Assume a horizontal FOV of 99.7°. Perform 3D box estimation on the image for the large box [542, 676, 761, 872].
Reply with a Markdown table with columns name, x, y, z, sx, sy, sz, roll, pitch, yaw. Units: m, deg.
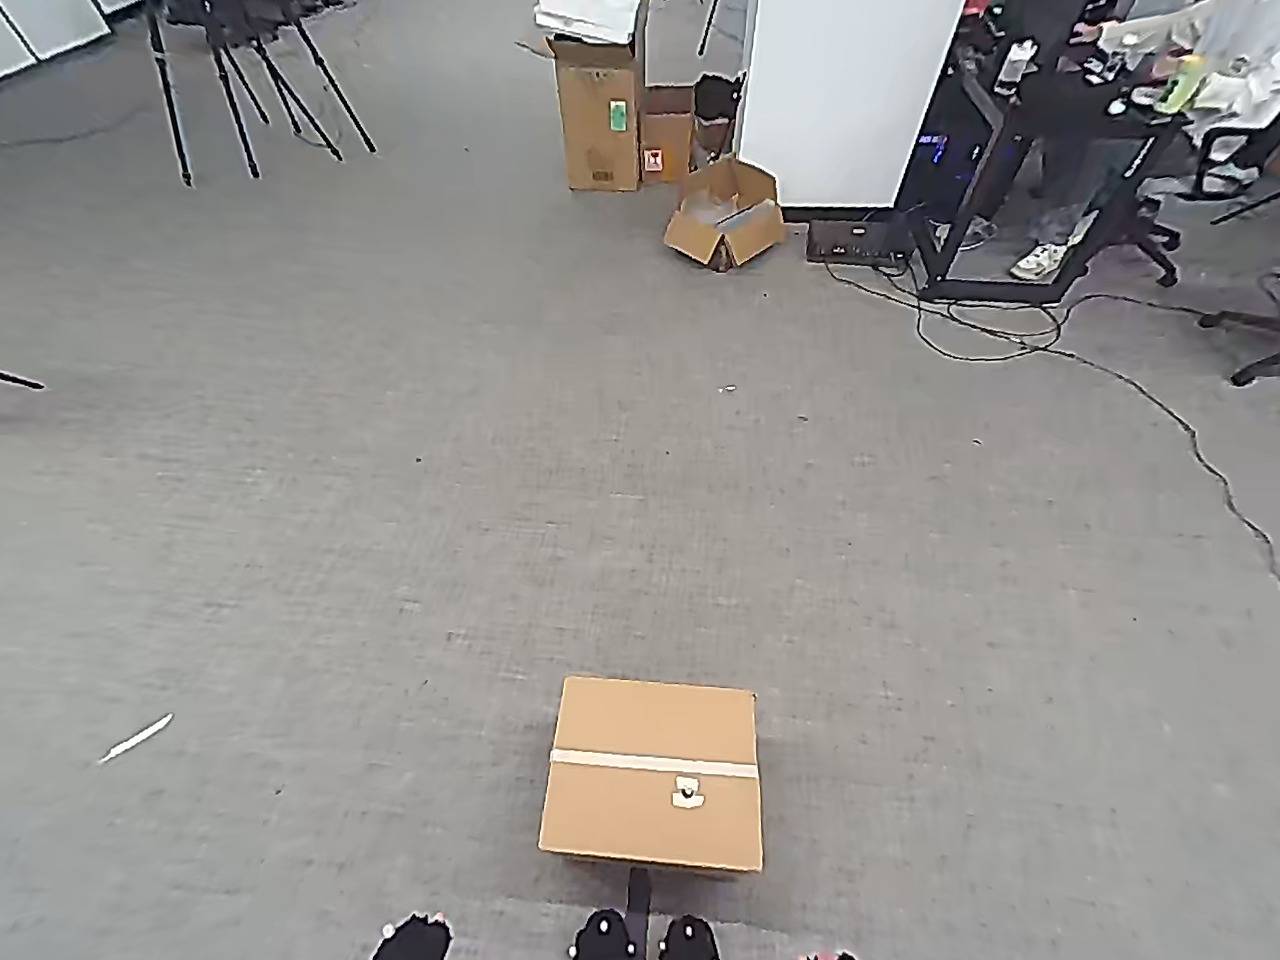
| name | x | y | z | sx | sy | sz | roll | pitch | yaw |
| --- | --- | --- | --- | --- | --- | --- | --- | --- | --- |
| large box | 0.027 | 0.642 | 1.173 | 0.408 | 0.320 | 0.320 | 4 | 53 | 3 |
